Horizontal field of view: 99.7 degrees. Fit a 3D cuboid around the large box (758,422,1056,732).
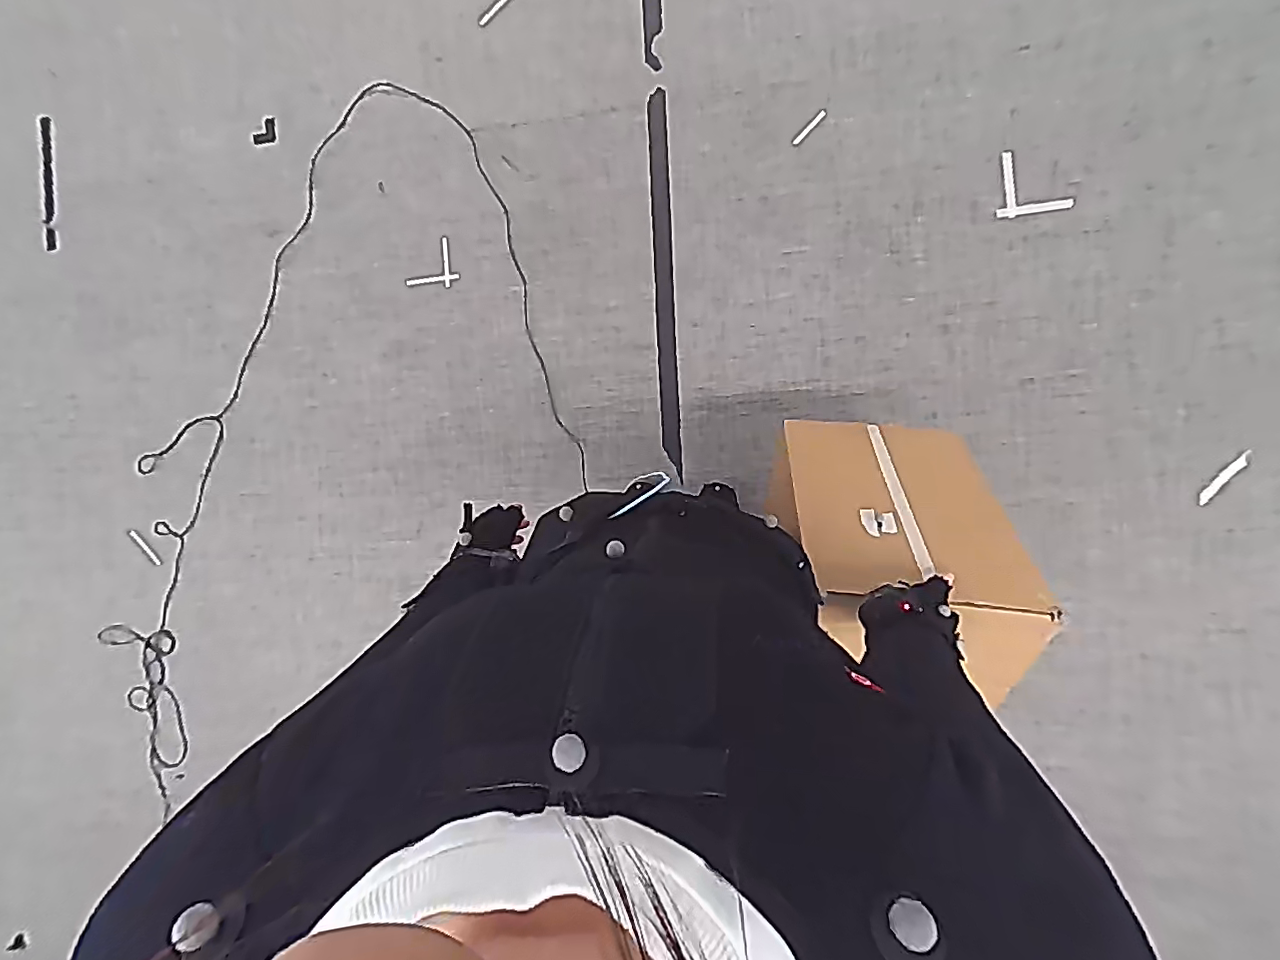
[{"bbox_3d":[0.385,0.147,0.923,0.320,0.408,0.320,4,130,6],"label":"large box"}]
